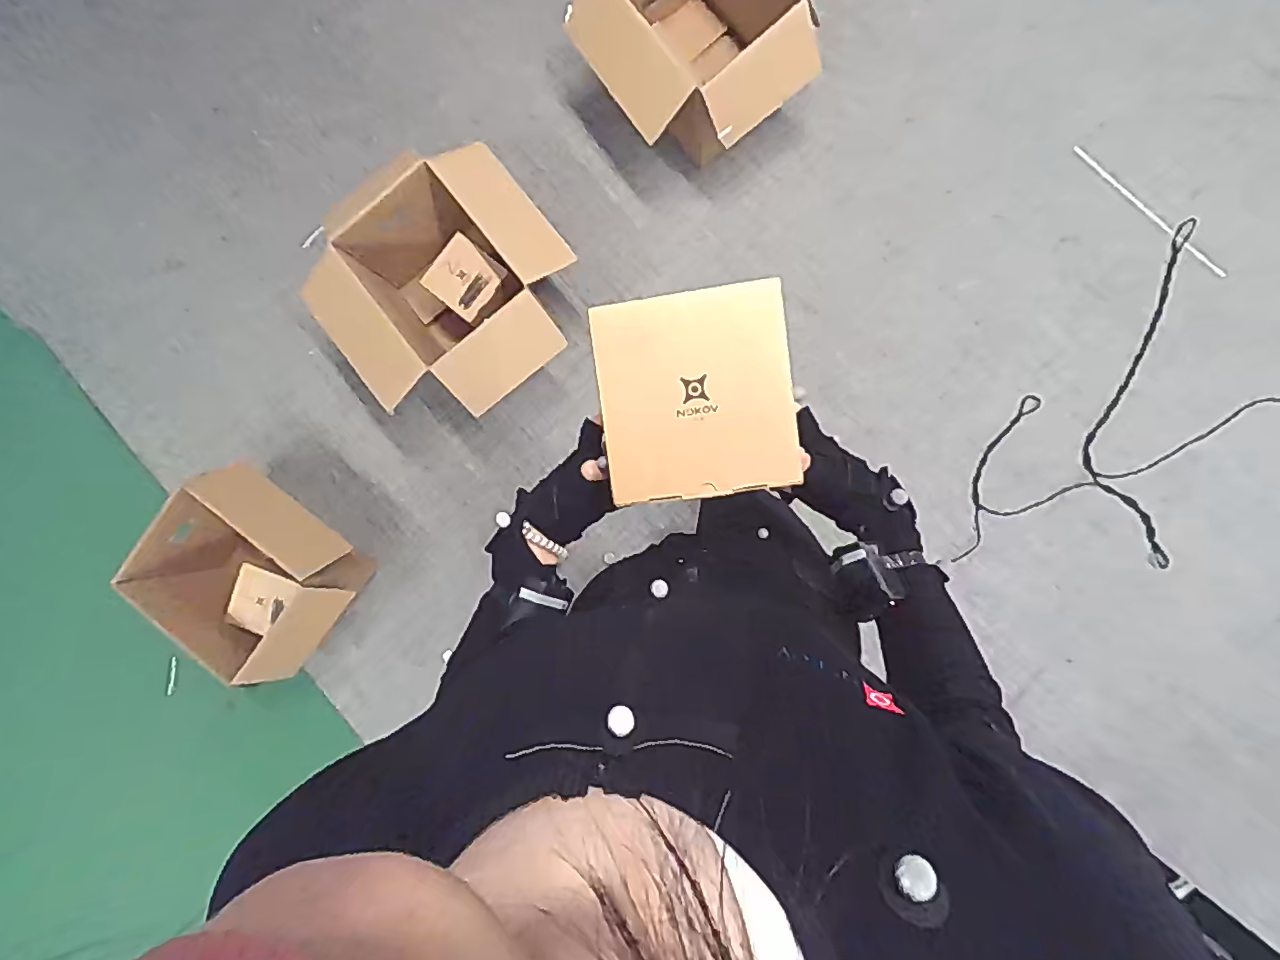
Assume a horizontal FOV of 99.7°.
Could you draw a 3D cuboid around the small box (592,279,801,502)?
[{"bbox_3d":[0.053,-0.080,0.543,0.168,0.176,0.179,-7,94,5],"label":"small box"}]
